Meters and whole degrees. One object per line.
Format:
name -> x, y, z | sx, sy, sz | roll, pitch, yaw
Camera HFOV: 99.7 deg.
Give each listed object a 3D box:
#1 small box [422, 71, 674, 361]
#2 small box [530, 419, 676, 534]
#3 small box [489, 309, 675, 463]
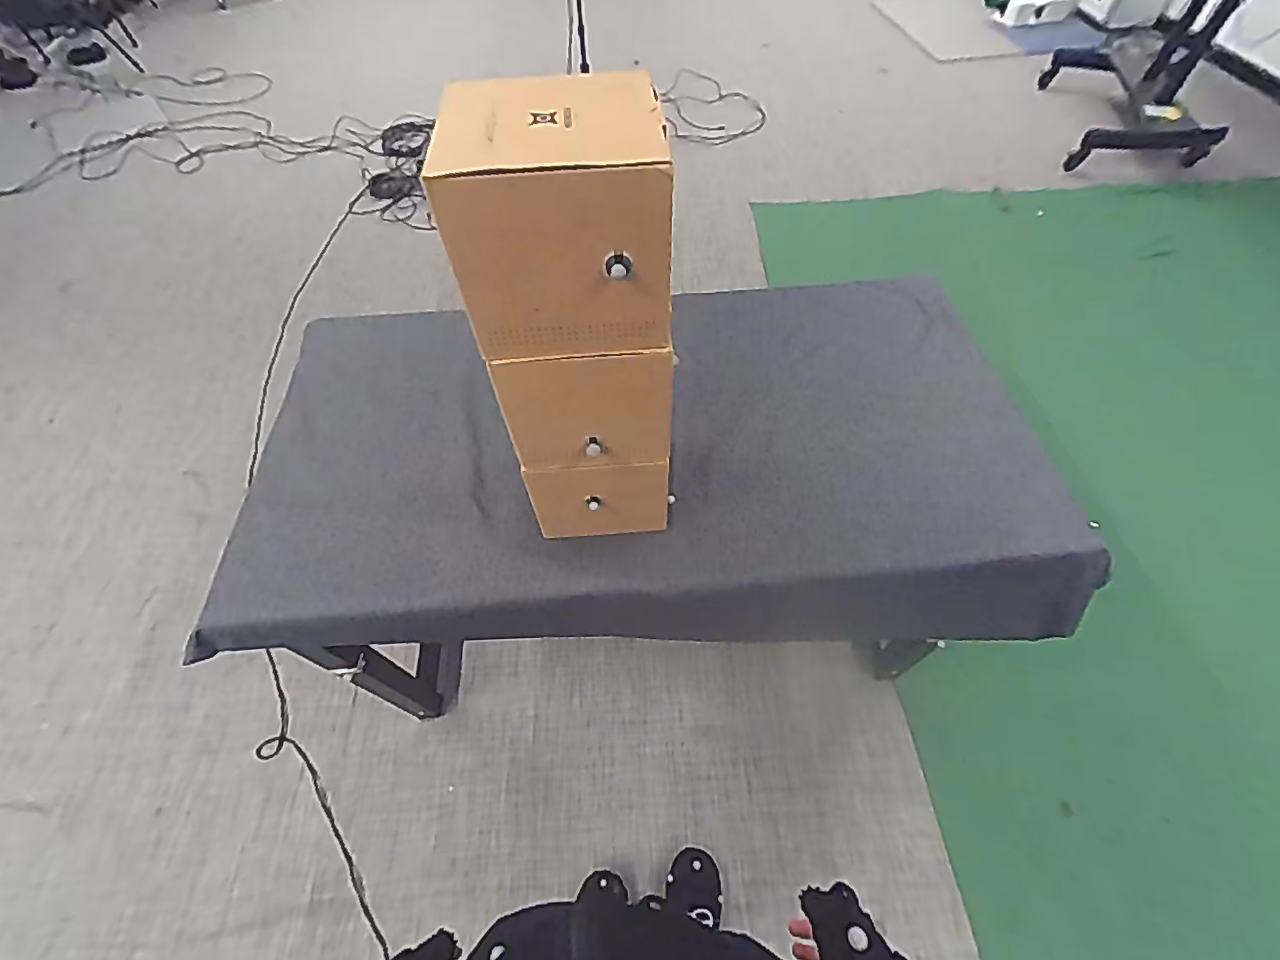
small box -> -0.066, -0.226, 0.480 | 0.179, 0.176, 0.168 | -6, 55, -1
small box -> -0.052, -0.039, 0.747 | 0.179, 0.176, 0.168 | -6, 57, -4
small box -> -0.058, -0.133, 0.613 | 0.179, 0.176, 0.168 | -4, 56, -1
